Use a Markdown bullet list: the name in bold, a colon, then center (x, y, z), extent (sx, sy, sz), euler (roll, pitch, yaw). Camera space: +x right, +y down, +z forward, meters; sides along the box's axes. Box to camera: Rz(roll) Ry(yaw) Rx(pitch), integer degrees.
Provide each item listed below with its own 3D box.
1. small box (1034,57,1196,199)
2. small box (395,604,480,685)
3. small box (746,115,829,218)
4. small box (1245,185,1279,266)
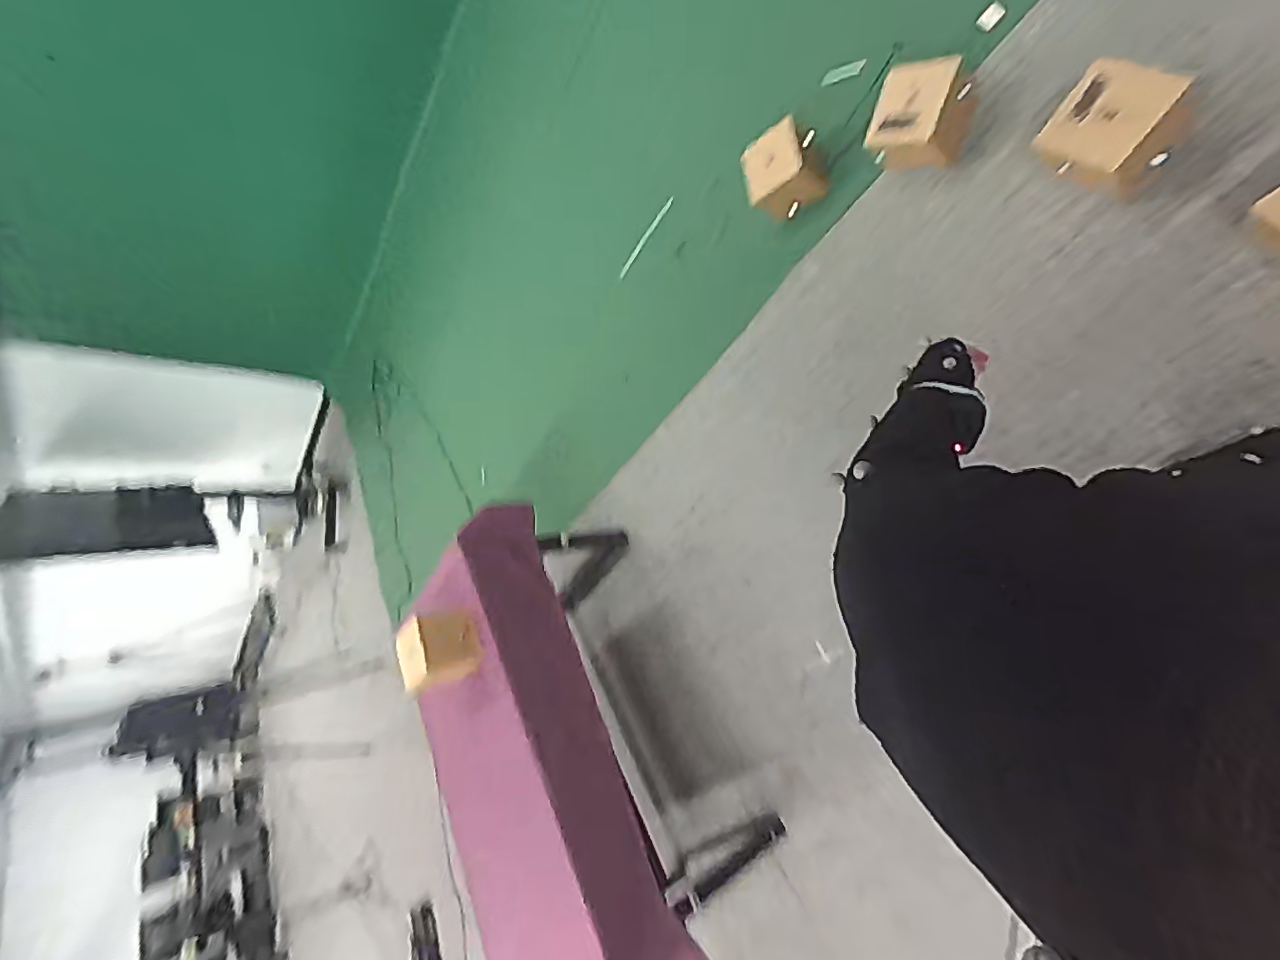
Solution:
- **small box**: center (0.951, -0.699, 1.089), extent (0.179, 0.176, 0.168), euler (52, 123, 32)
- **small box**: center (-0.596, 0.481, 1.592), extent (0.179, 0.176, 0.168), euler (-44, 60, 35)
- **small box**: center (0.442, -0.926, 1.616), extent (0.168, 0.176, 0.179), euler (-17, 76, 44)
- **small box**: center (1.154, -0.432, 0.875), extent (0.168, 0.176, 0.179), euler (-45, 59, 34)
